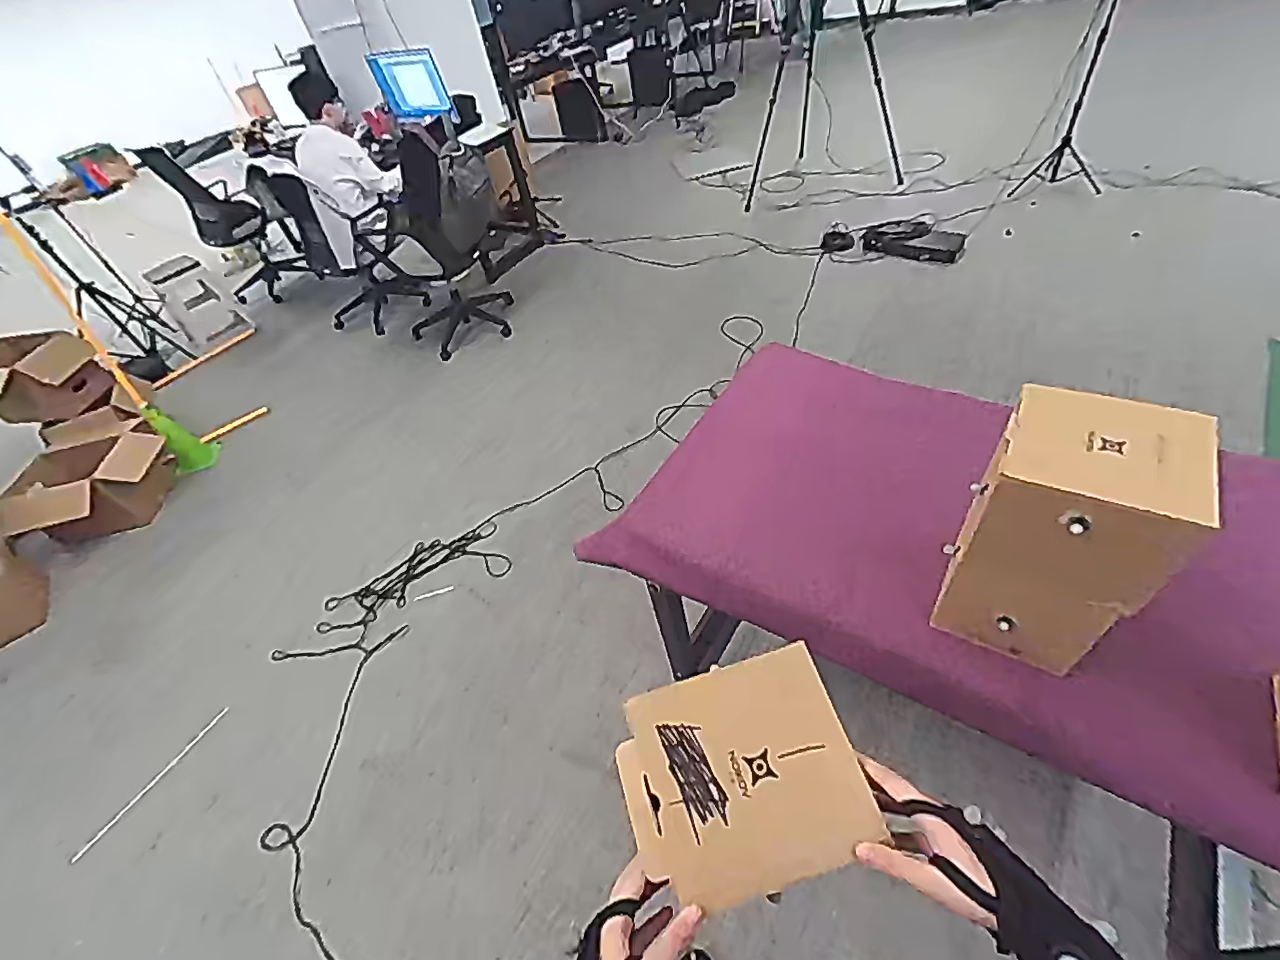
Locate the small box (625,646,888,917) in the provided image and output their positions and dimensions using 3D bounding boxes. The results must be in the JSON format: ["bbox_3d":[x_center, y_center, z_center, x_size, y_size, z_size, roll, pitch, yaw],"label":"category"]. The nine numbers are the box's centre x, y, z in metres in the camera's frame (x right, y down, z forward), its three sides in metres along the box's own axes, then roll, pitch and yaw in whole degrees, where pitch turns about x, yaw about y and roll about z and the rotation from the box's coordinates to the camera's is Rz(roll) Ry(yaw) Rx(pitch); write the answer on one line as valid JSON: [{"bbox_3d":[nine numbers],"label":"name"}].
[{"bbox_3d":[0.099,0.283,0.523,0.179,0.176,0.168,-17,60,-4],"label":"small box"}]

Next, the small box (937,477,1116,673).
[{"bbox_3d":[0.527,0.130,0.741,0.168,0.176,0.179,19,53,29],"label":"small box"}]

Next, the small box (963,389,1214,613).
[{"bbox_3d":[0.498,0.024,0.621,0.179,0.176,0.168,19,55,29],"label":"small box"}]
